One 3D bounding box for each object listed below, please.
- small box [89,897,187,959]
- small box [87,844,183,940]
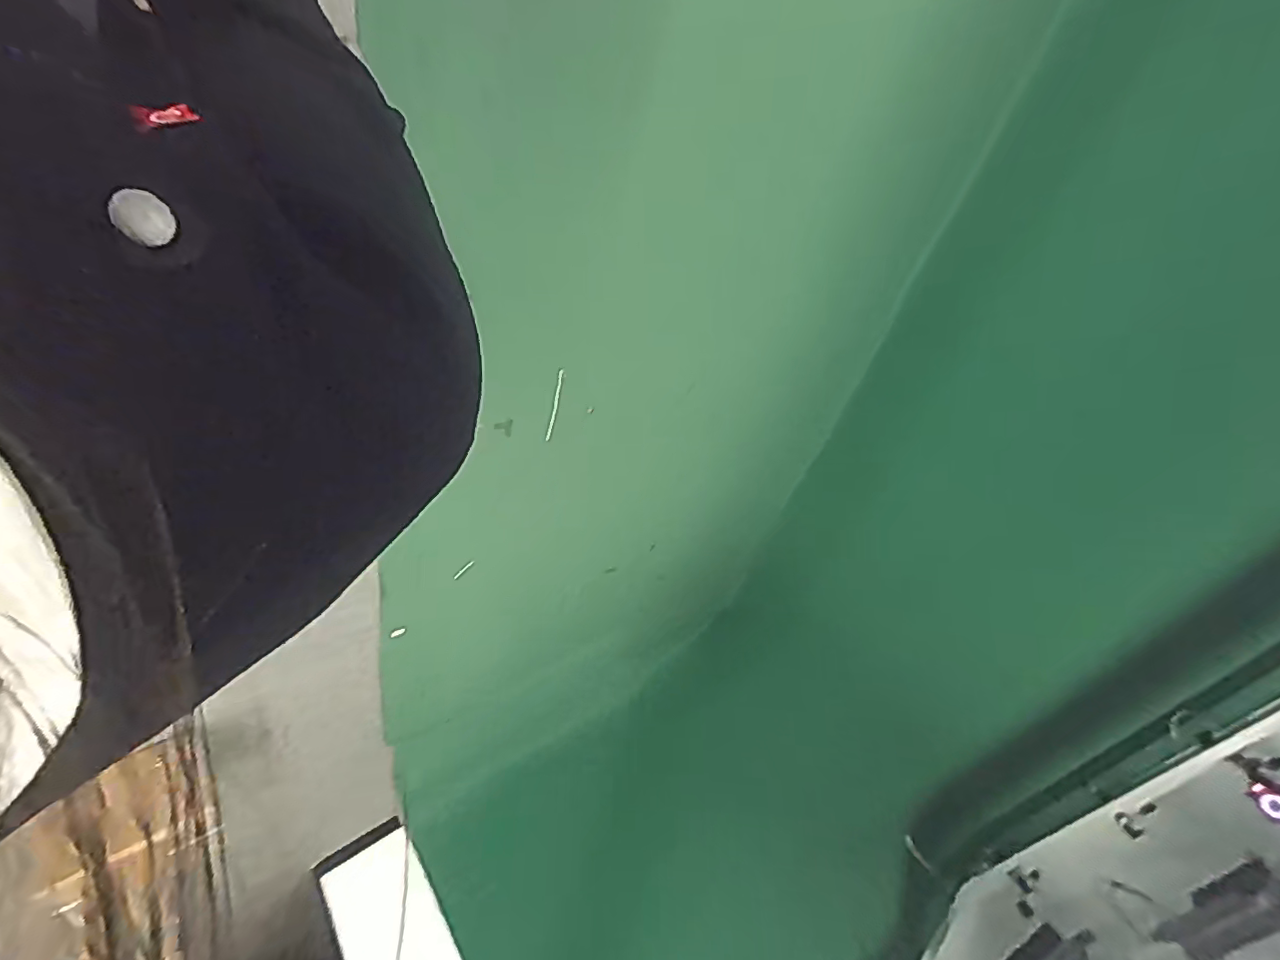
[{"bbox_3d":[-1.415,1.340,1.527,0.179,0.176,0.168,-18,137,-37],"label":"small box"},{"bbox_3d":[-1.510,1.242,1.618,0.179,0.176,0.168,-16,136,-38],"label":"small box"}]
